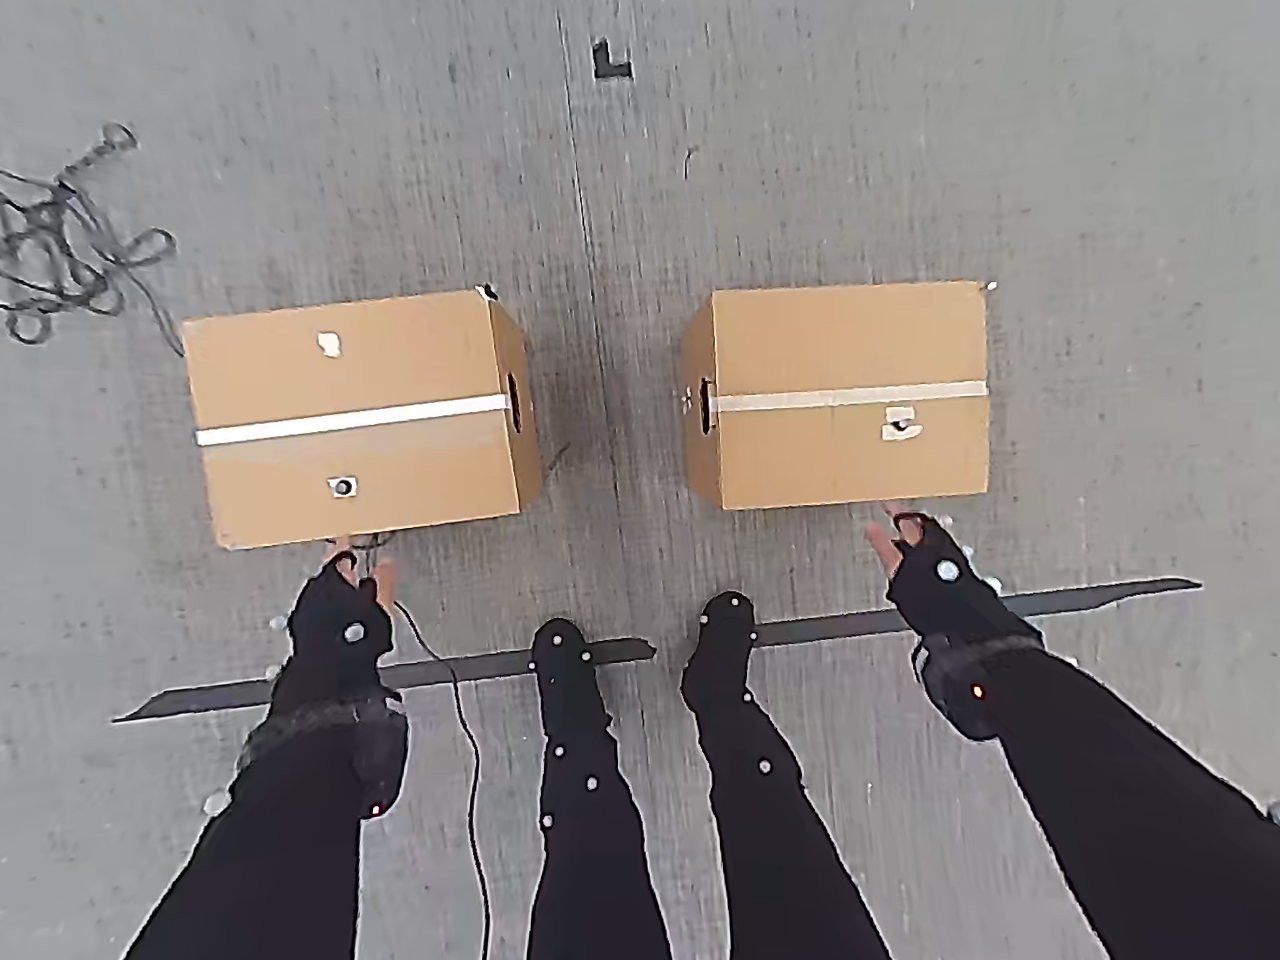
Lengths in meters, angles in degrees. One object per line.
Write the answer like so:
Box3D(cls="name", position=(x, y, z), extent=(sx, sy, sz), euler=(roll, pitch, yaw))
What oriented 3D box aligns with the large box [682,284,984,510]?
Box3D(cls="large box", position=(0.301, -0.132, 0.939), extent=(0.408, 0.320, 0.320), euler=(-3, 95, -4))
